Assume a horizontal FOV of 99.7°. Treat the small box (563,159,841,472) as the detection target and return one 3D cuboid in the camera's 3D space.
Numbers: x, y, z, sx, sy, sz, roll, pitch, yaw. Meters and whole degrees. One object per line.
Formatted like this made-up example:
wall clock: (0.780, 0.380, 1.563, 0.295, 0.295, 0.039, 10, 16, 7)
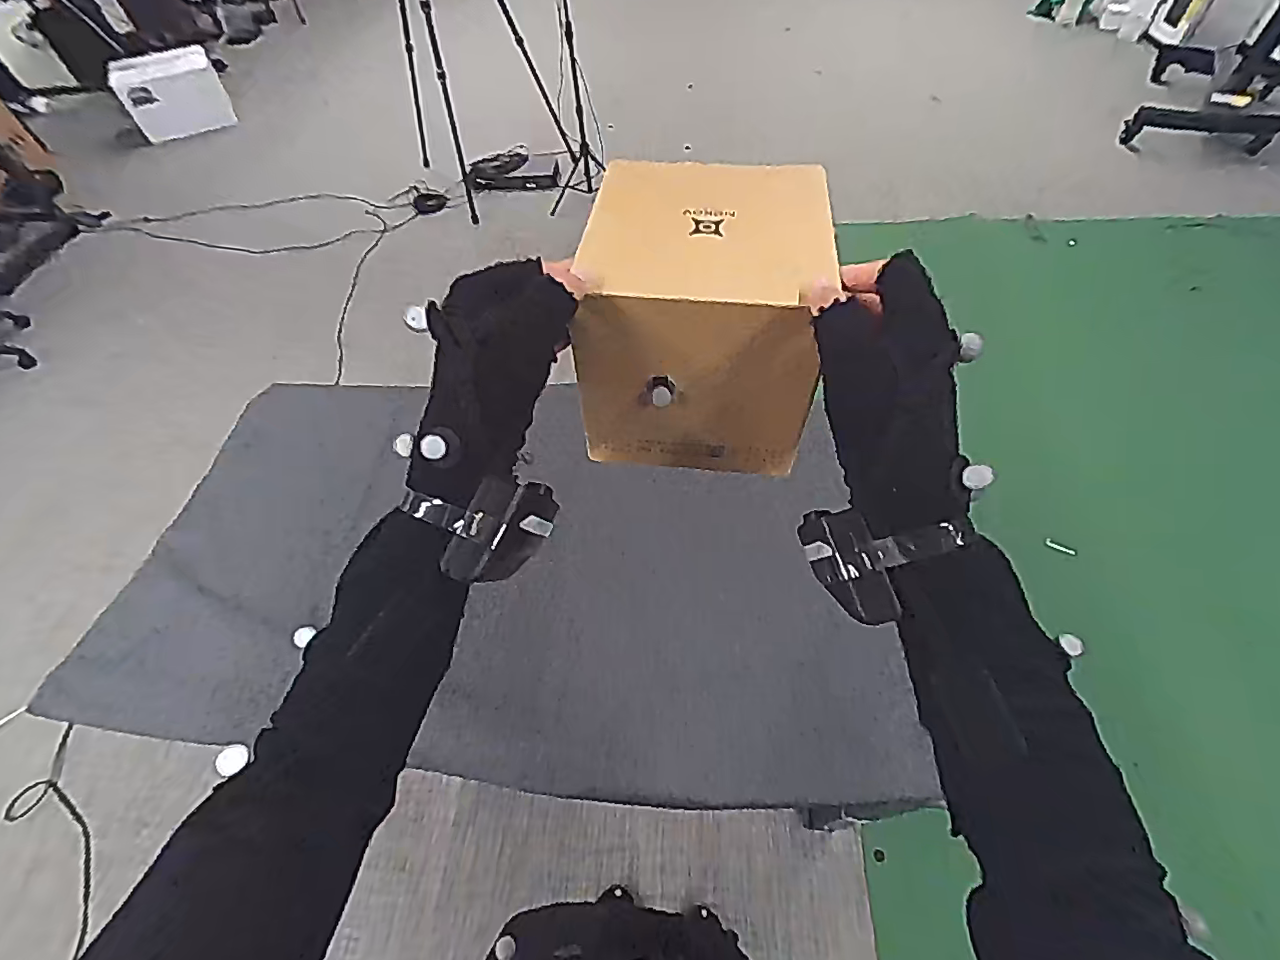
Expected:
small box: (0.048, -0.124, 0.423, 0.168, 0.176, 0.179, 5, 54, 6)
